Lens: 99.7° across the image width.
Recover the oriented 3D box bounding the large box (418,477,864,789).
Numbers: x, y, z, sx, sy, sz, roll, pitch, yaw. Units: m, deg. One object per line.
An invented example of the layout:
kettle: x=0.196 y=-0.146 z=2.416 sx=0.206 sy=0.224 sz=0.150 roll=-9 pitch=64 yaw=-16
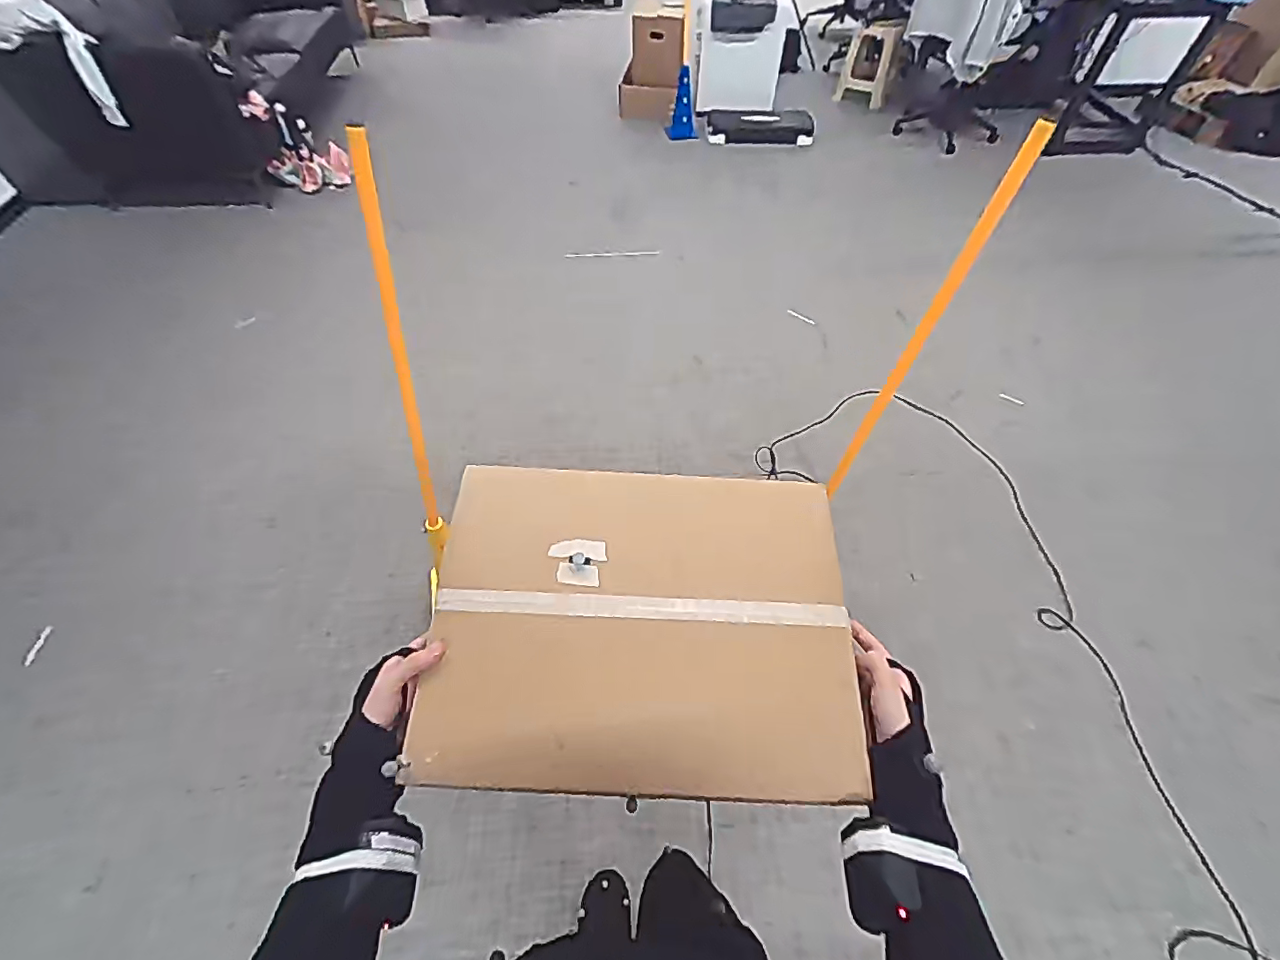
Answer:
large box: x=0.004 y=0.206 z=0.679 sx=0.408 sy=0.320 sz=0.320 roll=2 pitch=59 yaw=0
